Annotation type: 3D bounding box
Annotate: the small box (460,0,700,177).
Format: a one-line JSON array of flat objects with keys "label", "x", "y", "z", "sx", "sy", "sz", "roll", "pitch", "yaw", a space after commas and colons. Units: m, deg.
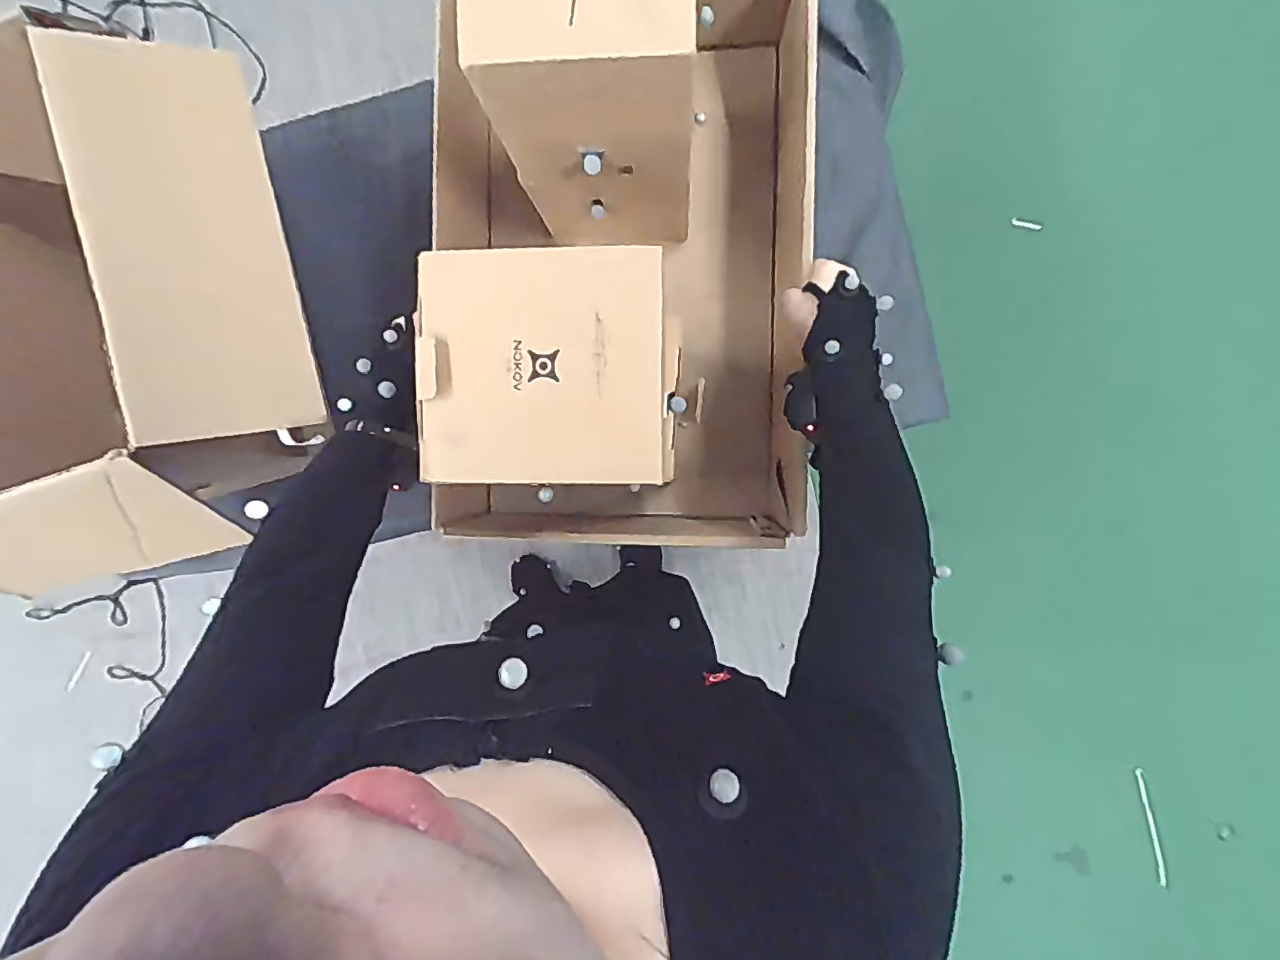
[{"label": "small box", "x": -0.036, "y": -0.378, "z": 0.443, "sx": 0.168, "sy": 0.176, "sz": 0.179, "roll": 1, "pitch": 95, "yaw": 4}]
